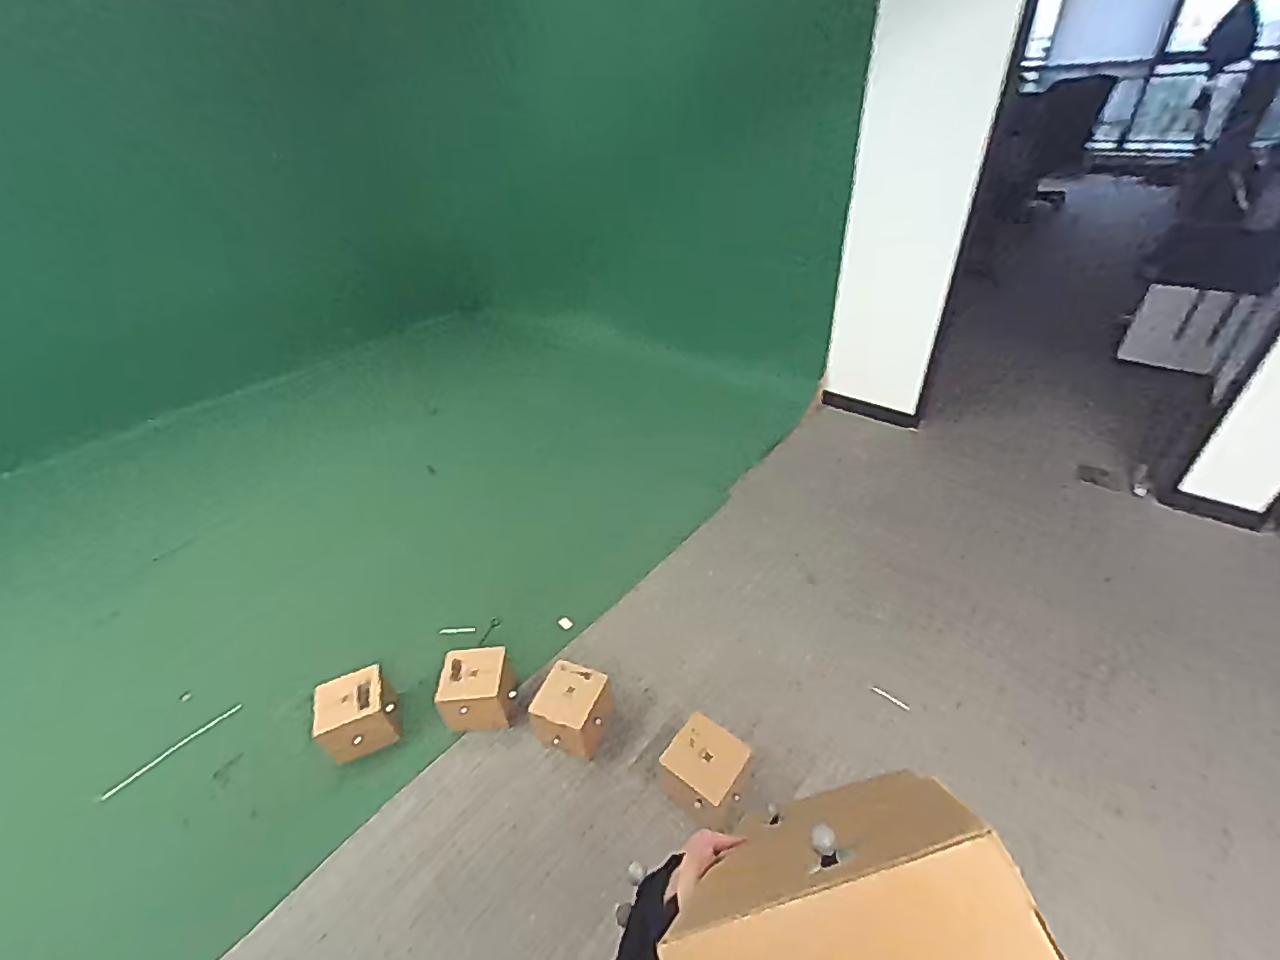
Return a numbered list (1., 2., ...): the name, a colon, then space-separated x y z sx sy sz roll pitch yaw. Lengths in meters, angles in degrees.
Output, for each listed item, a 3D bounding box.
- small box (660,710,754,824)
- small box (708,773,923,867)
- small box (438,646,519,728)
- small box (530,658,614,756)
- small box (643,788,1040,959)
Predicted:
1. small box: 0.170 0.735 1.374 0.179 0.176 0.168 25 46 33
2. small box: 0.176 0.357 0.439 0.179 0.176 0.168 -22 64 9
3. small box: -0.472 0.618 1.610 0.179 0.176 0.168 -5 37 0
4. small box: -0.184 0.646 1.536 0.168 0.176 0.179 12 41 21
5. small box: 0.127 0.294 0.297 0.179 0.176 0.168 -25 64 7
